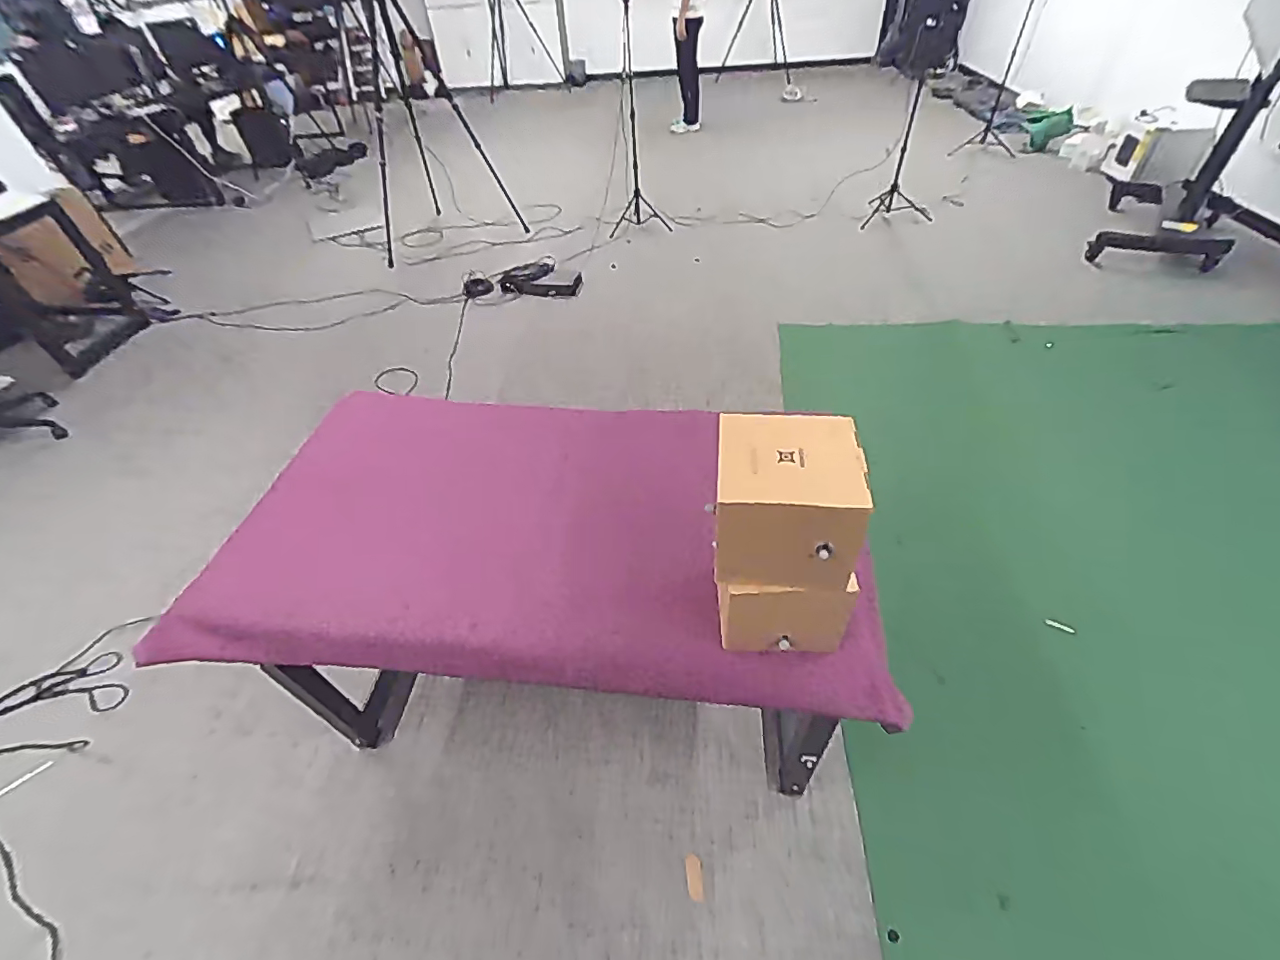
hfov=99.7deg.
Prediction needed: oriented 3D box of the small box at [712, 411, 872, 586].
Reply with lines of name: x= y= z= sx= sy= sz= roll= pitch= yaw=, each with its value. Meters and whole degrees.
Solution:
small box: x=0.190 y=0.026 z=0.722 sx=0.179 sy=0.176 sz=0.168 roll=2 pitch=46 yaw=9

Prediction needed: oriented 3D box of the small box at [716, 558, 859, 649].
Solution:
small box: x=0.212 y=0.147 z=0.831 sx=0.179 sy=0.176 sz=0.168 roll=-1 pitch=45 yaw=4
